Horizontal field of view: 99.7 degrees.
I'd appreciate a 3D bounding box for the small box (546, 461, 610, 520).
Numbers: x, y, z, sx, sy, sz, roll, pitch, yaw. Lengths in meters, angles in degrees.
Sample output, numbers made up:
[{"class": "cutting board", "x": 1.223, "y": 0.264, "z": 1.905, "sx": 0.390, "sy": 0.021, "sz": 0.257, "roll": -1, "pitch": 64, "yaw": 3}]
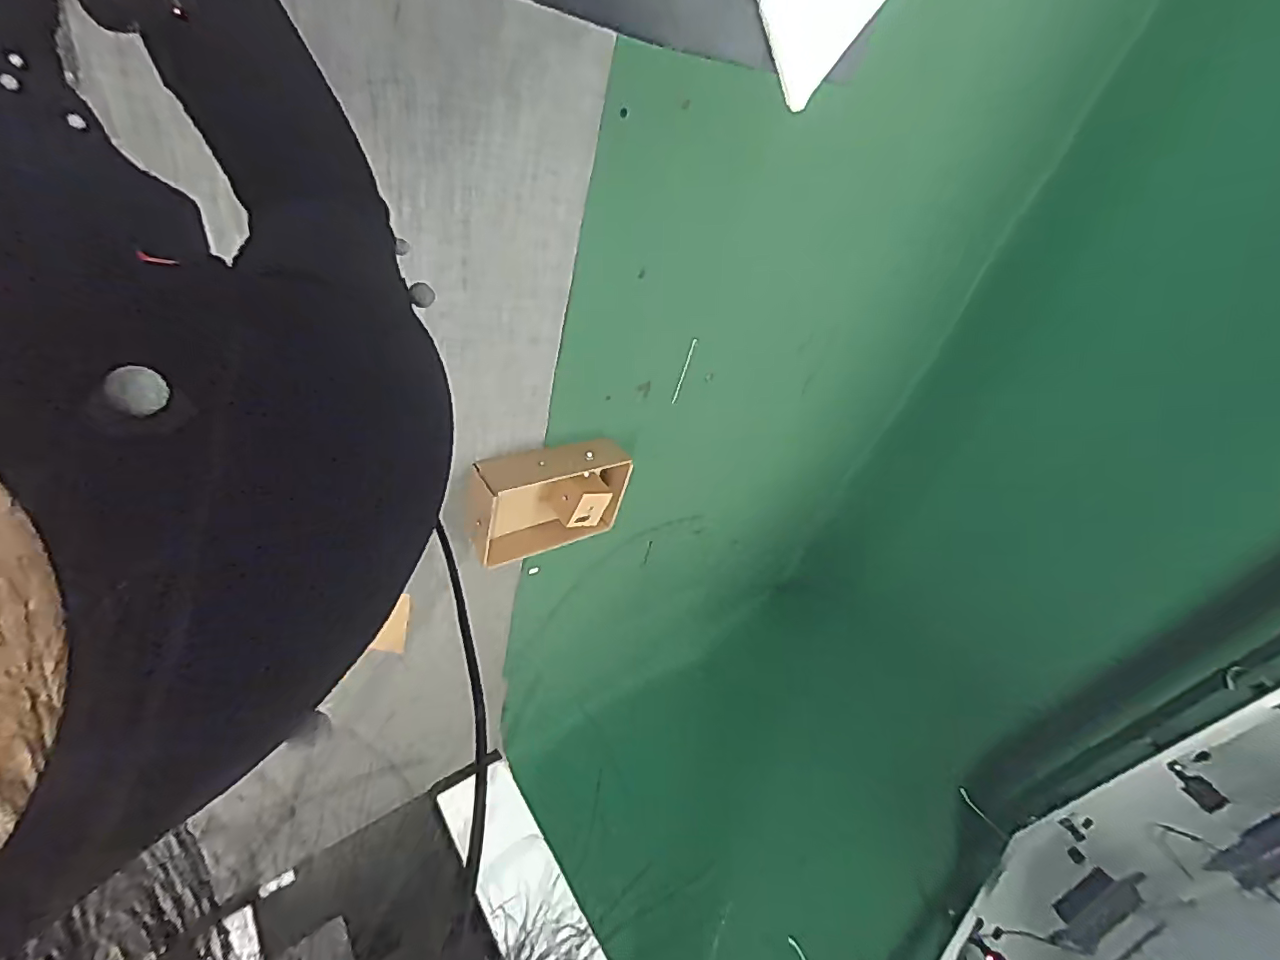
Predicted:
[{"class": "small box", "x": -0.262, "y": 0.044, "z": 2.222, "sx": 0.168, "sy": 0.176, "sz": 0.179, "roll": 0, "pitch": 129, "yaw": -48}]
